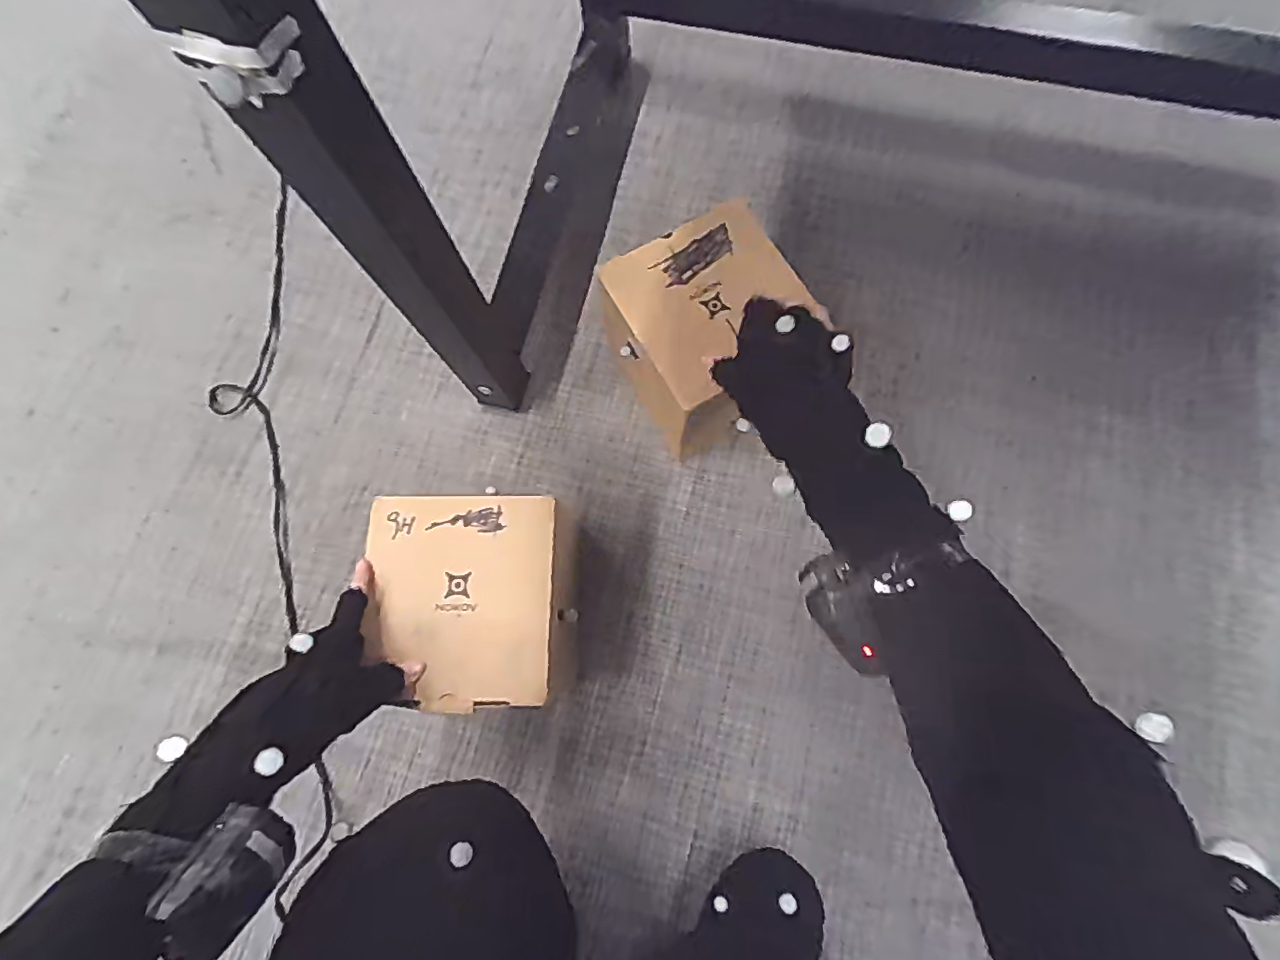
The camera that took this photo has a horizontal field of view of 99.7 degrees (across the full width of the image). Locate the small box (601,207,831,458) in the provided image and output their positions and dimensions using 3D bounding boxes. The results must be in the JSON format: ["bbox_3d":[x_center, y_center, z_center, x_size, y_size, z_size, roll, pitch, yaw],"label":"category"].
[{"bbox_3d":[0.072,-0.149,0.598,0.168,0.176,0.179,-29,78,-4],"label":"small box"}]
